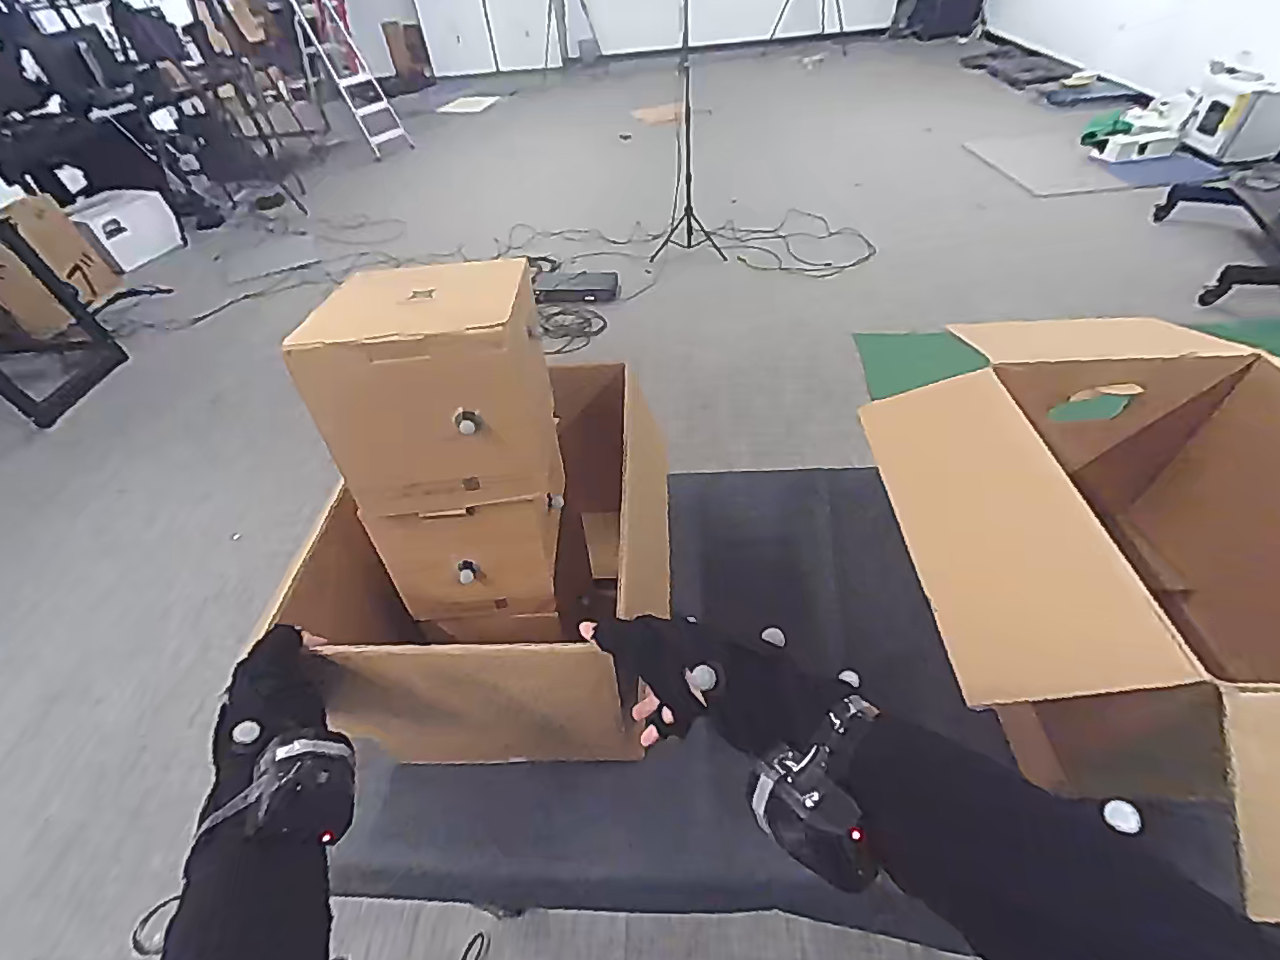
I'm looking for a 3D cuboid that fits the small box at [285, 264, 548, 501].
[{"bbox_3d":[-0.186,-0.091,0.518,0.168,0.176,0.179,-4,37,-1],"label":"small box"}]
